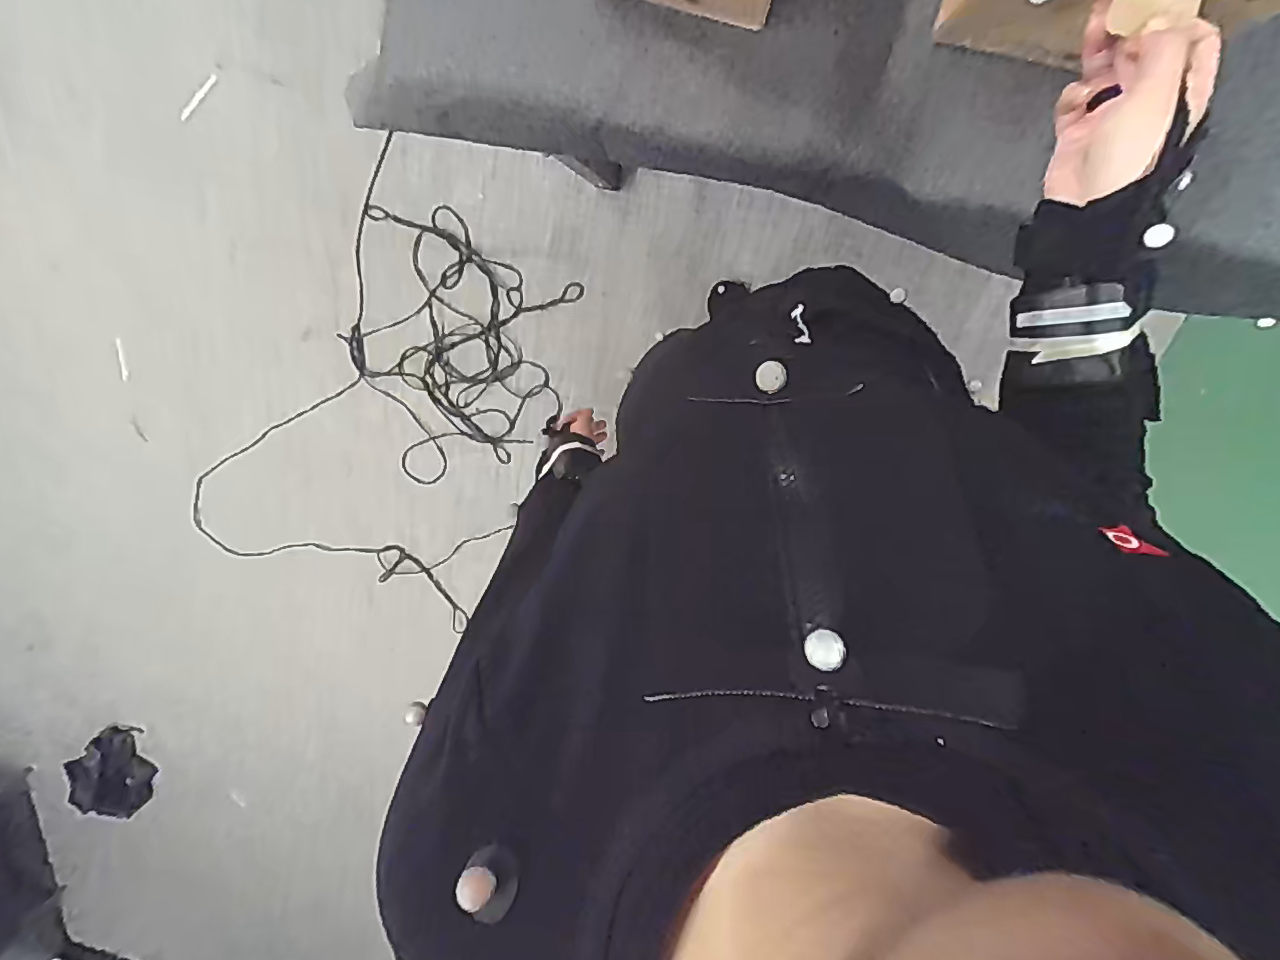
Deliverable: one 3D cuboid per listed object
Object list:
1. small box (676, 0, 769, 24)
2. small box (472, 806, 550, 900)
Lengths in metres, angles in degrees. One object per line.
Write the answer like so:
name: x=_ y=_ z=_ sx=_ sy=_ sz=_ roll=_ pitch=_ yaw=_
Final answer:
small box: x=0.036 y=-0.452 z=0.355 sx=0.168 sy=0.176 sz=0.179 roll=17 pitch=110 yaw=1
small box: x=-0.429 y=1.256 z=1.829 sx=0.168 sy=0.176 sz=0.179 roll=38 pitch=110 yaw=-5
